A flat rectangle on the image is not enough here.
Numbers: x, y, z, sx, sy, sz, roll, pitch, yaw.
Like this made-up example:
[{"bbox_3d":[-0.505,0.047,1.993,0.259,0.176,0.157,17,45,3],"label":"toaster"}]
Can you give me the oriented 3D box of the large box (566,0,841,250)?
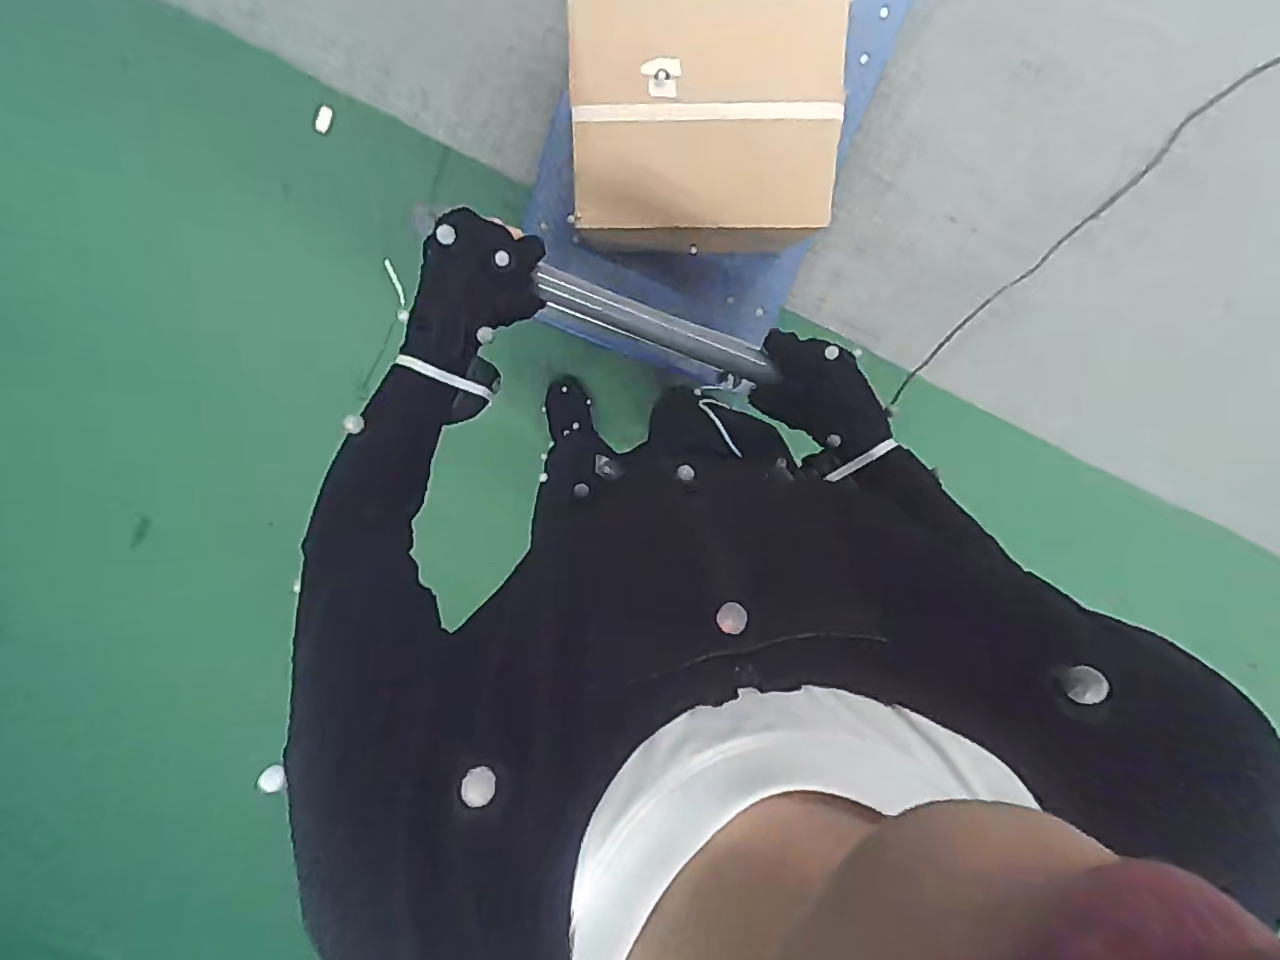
[{"bbox_3d":[0.096,-0.588,0.956,0.408,0.320,0.320,1,106,1],"label":"large box"}]
